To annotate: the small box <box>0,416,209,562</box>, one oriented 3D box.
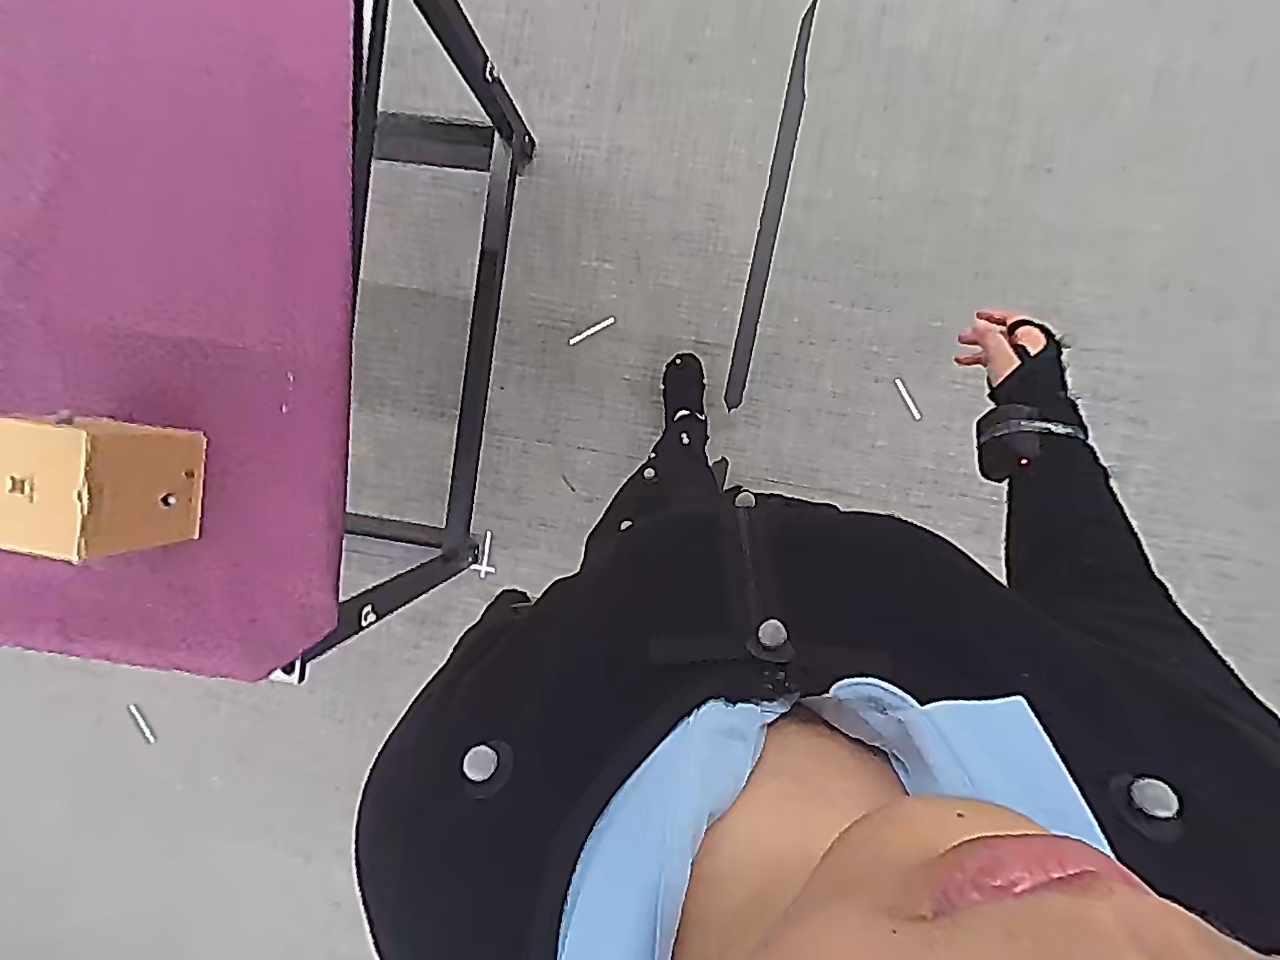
[{"bbox_3d":[-0.759,0.008,0.754,0.179,0.176,0.168,8,94,4],"label":"small box"}]
